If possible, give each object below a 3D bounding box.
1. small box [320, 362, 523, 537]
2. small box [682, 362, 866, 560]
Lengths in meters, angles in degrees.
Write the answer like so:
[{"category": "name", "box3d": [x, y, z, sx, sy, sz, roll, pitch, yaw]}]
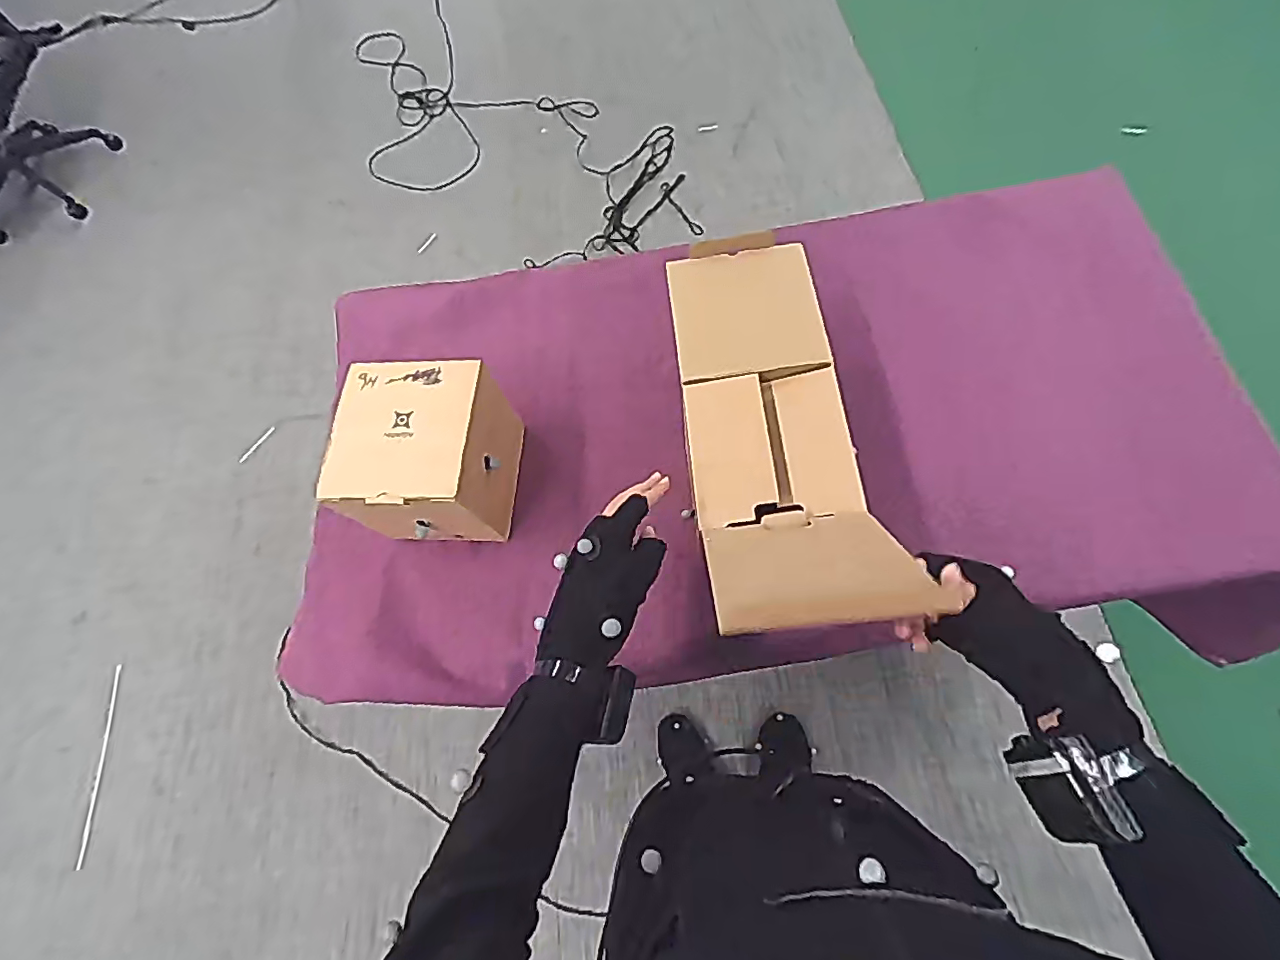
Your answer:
[{"category": "small box", "box3d": [-0.257, -0.029, 0.684, 0.168, 0.176, 0.179, 0, 69, 7]}, {"category": "small box", "box3d": [0.141, -0.009, 0.626, 0.168, 0.176, 0.179, -6, 68, 4]}]
